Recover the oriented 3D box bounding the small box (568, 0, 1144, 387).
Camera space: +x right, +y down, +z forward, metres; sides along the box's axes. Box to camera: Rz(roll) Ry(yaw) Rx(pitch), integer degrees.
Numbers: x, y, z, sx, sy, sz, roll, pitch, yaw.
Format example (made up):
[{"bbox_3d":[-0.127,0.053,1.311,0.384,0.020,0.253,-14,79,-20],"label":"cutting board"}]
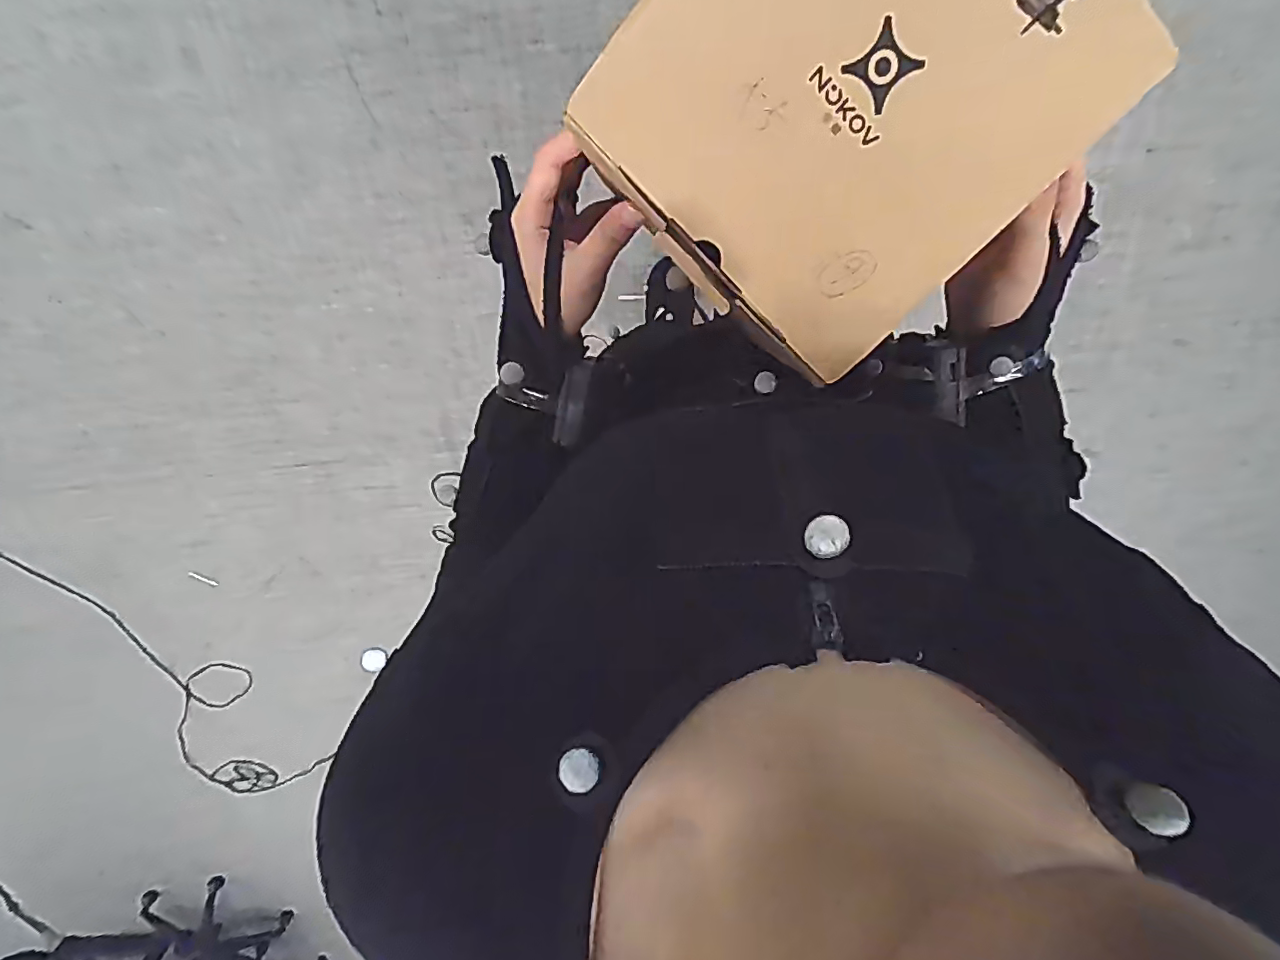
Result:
[{"bbox_3d":[0.089,-0.180,0.298,0.168,0.176,0.179,42,106,-12],"label":"small box"}]
